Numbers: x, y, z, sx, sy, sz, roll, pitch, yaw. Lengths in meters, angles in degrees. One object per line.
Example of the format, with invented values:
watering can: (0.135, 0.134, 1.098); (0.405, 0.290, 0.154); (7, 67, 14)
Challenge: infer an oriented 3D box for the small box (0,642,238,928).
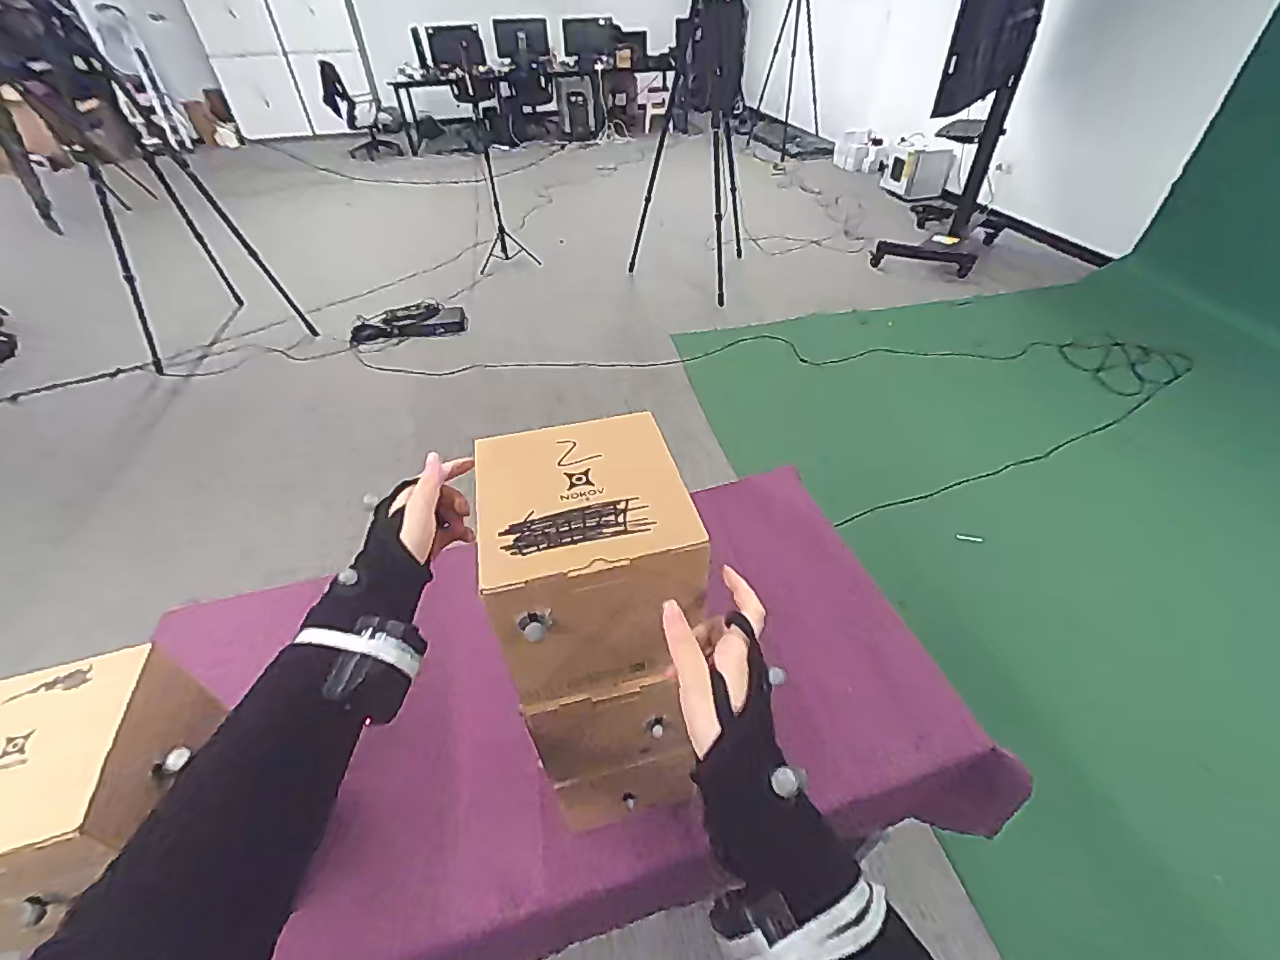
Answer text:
small box: (-0.528, 0.292, 0.517); (0.168, 0.176, 0.179); (-13, 43, -12)

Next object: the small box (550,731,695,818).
small box: (-0.030, 0.314, 0.706); (0.168, 0.176, 0.179); (-11, 43, -9)

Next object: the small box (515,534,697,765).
small box: (-0.038, 0.191, 0.598); (0.168, 0.176, 0.179); (-10, 42, -8)
